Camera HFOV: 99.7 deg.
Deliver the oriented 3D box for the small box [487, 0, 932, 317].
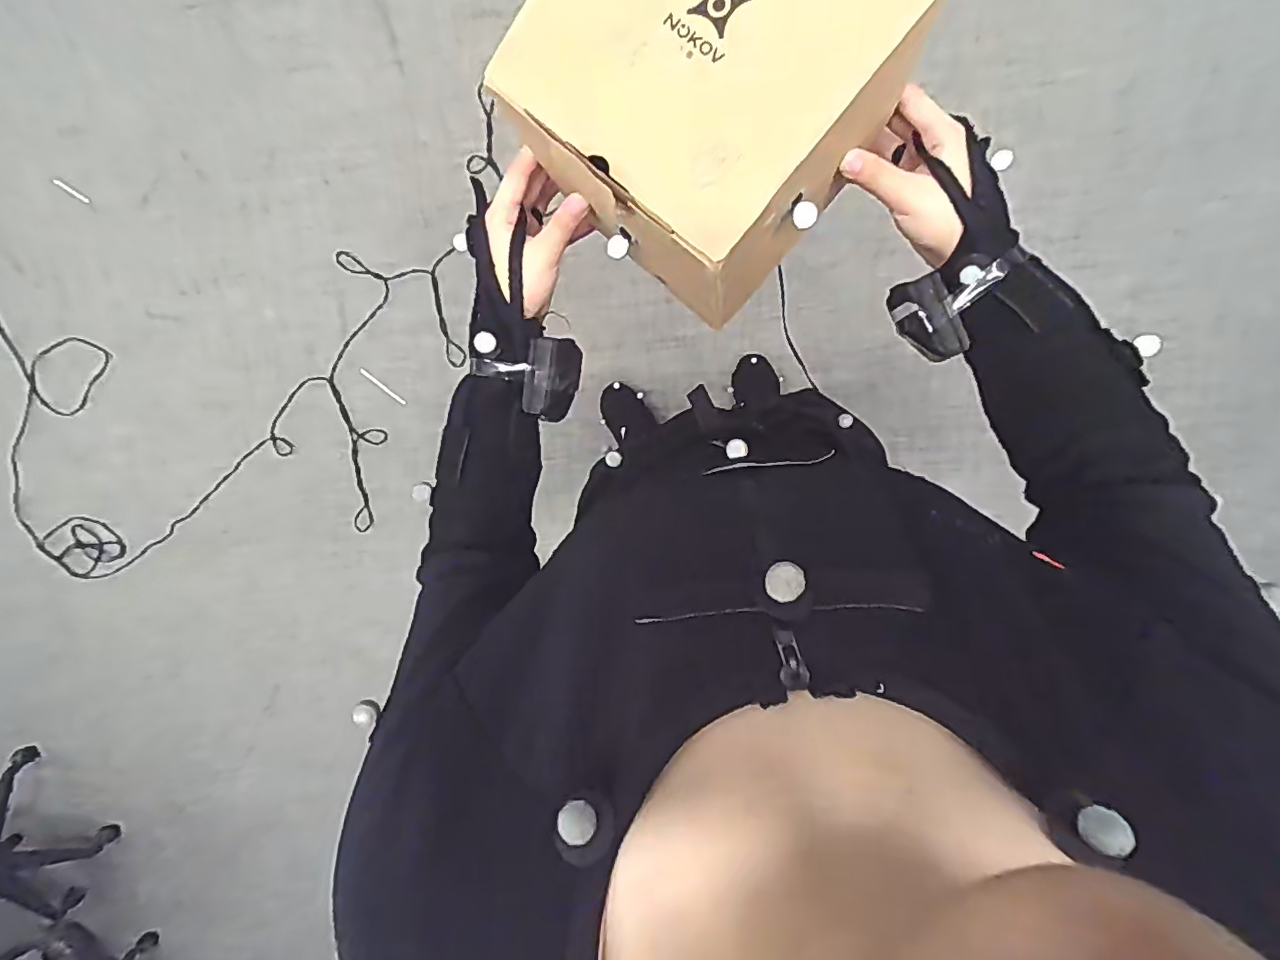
[{"bbox_3d":[0.044,-0.232,0.349,0.168,0.176,0.179,41,101,4],"label":"small box"}]
